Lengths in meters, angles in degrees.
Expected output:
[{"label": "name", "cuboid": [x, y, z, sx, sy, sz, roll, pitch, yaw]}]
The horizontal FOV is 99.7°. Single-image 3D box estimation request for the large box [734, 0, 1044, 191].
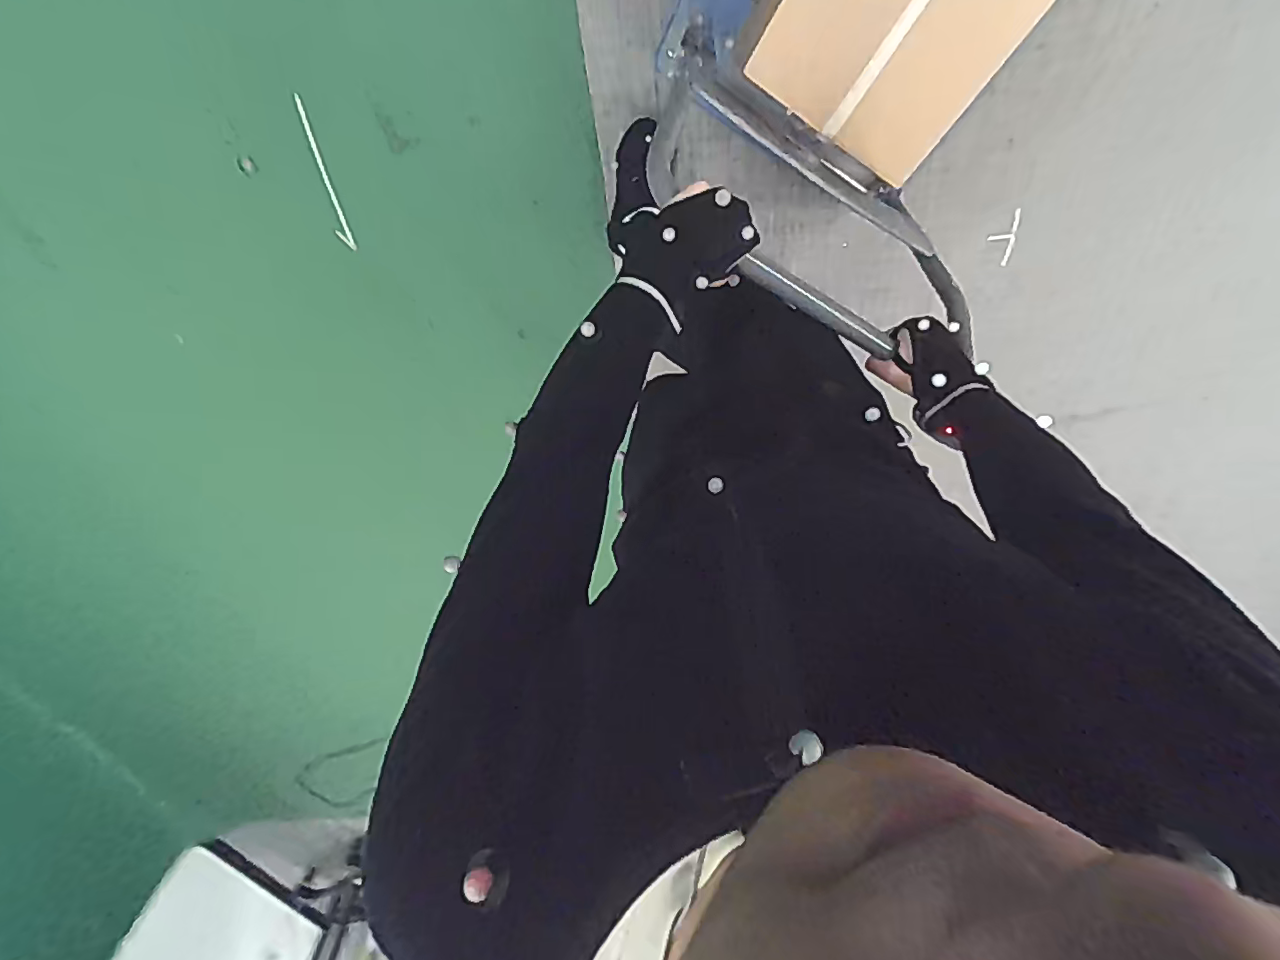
[{"label": "large box", "cuboid": [0.386, -0.758, 0.845, 0.320, 0.320, 0.408, 26, 129, -17]}]
